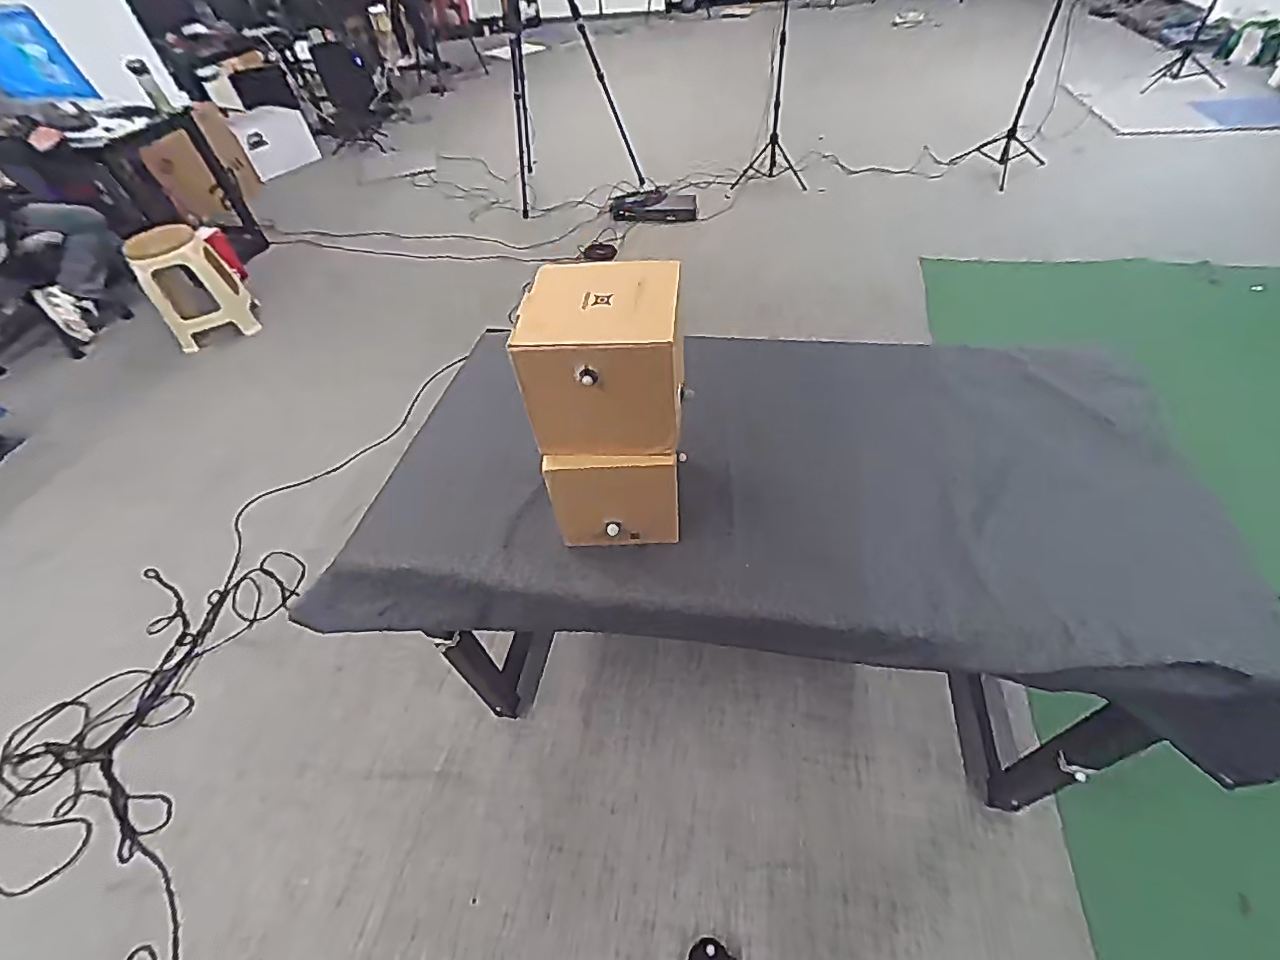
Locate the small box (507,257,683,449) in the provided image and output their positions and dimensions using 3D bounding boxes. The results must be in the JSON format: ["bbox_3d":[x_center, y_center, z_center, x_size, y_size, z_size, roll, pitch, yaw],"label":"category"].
[{"bbox_3d":[-0.040,-0.150,0.660,0.179,0.176,0.168,1,50,6],"label":"small box"}]

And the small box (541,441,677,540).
[{"bbox_3d":[-0.033,-0.032,0.773,0.168,0.176,0.179,-2,49,4],"label":"small box"}]
